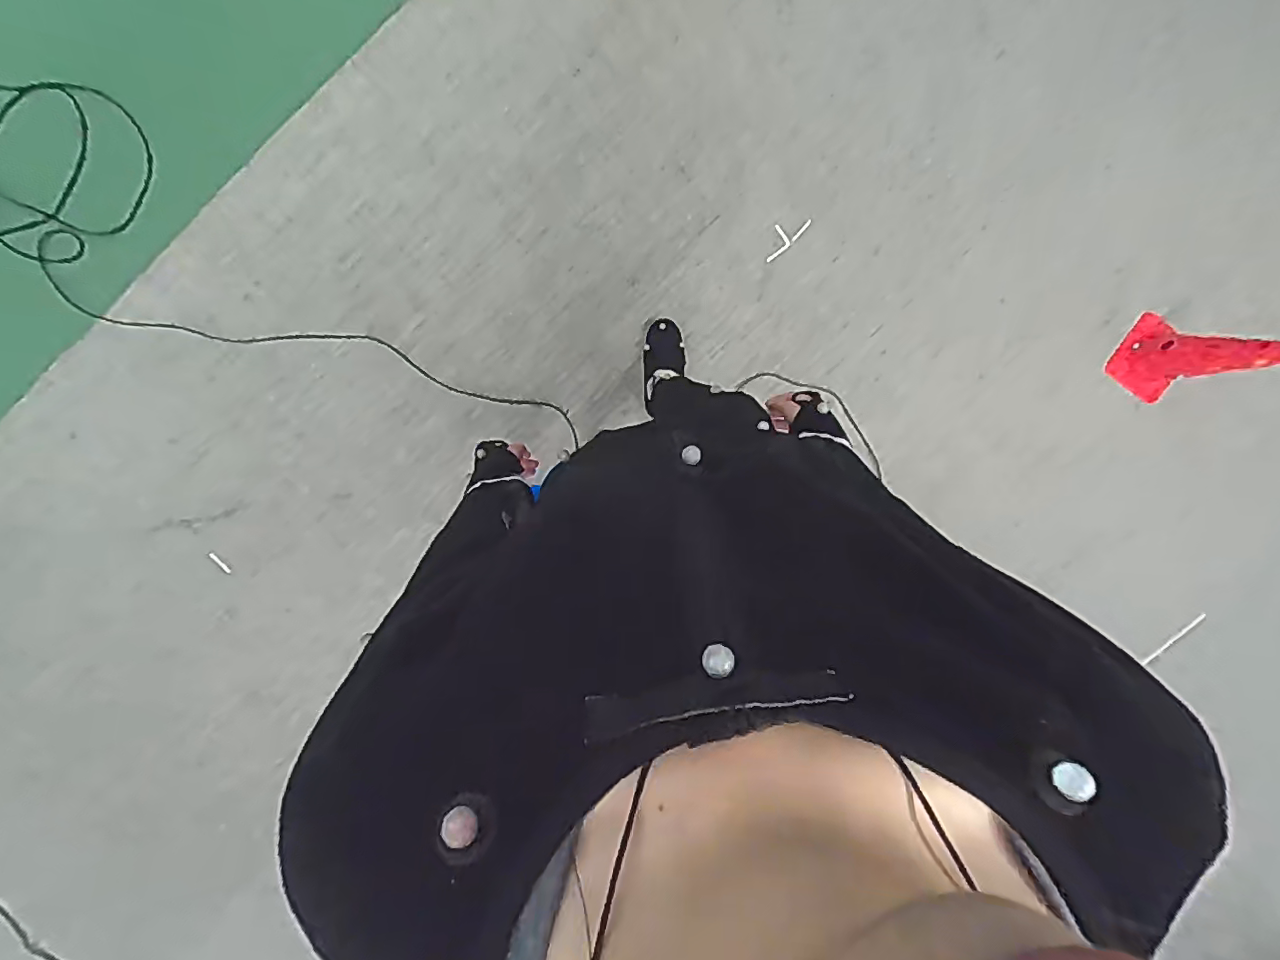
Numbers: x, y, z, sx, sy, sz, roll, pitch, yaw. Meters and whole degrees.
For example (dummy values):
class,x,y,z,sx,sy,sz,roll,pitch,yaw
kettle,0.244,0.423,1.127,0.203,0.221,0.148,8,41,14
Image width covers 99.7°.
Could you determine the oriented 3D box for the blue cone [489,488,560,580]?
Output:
class,x,y,z,sx,sy,sz,roll,pitch,yaw
blue cone,-0.299,0.152,1.313,0.192,0.380,0.193,2,103,-6
